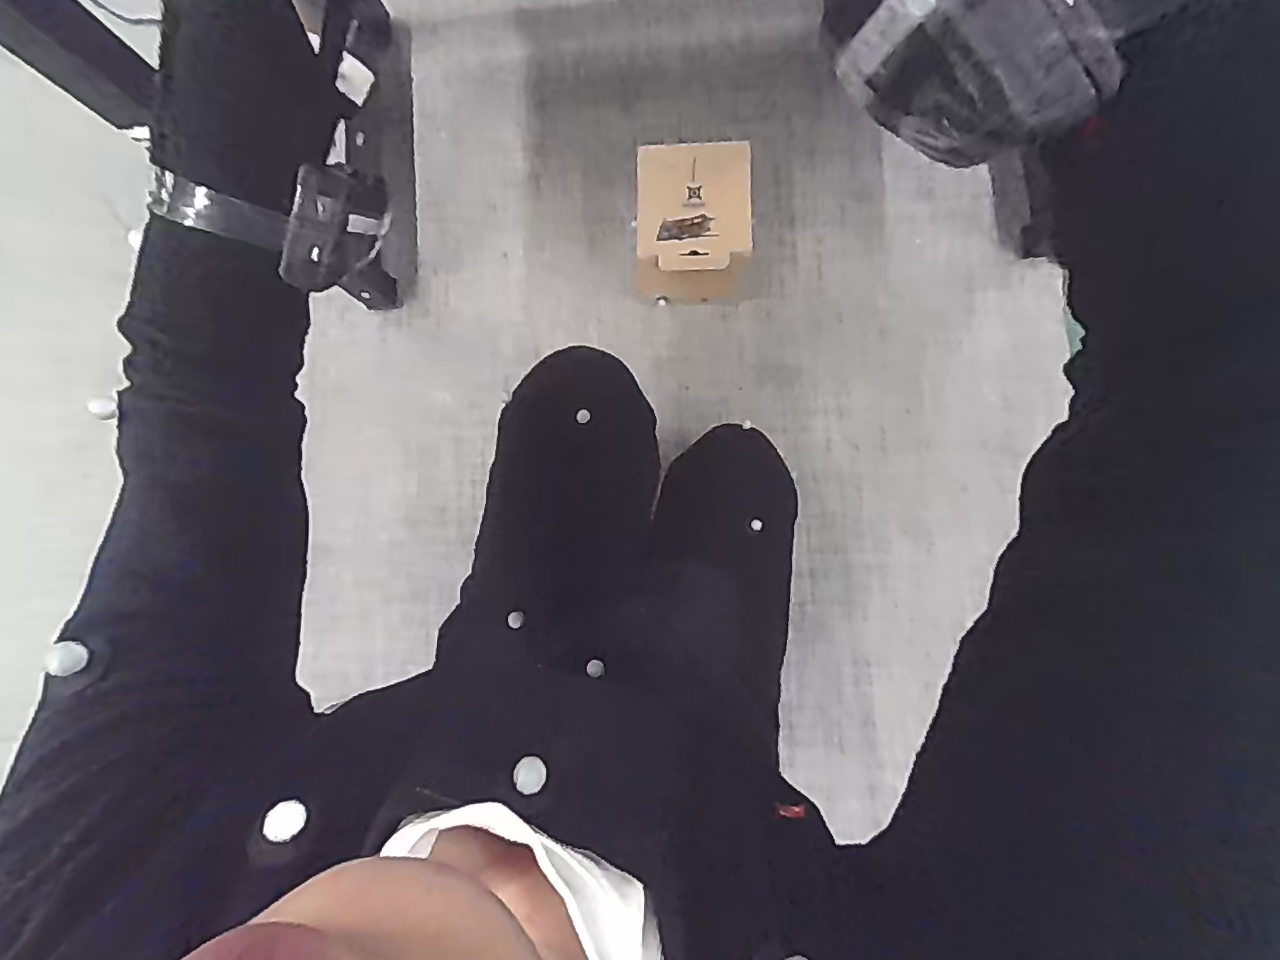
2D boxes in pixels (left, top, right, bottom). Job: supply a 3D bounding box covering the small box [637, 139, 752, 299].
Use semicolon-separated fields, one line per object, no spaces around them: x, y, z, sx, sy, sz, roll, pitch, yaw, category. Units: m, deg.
0.087;-0.402;0.862;0.168;0.176;0.179;0;84;5;small box
